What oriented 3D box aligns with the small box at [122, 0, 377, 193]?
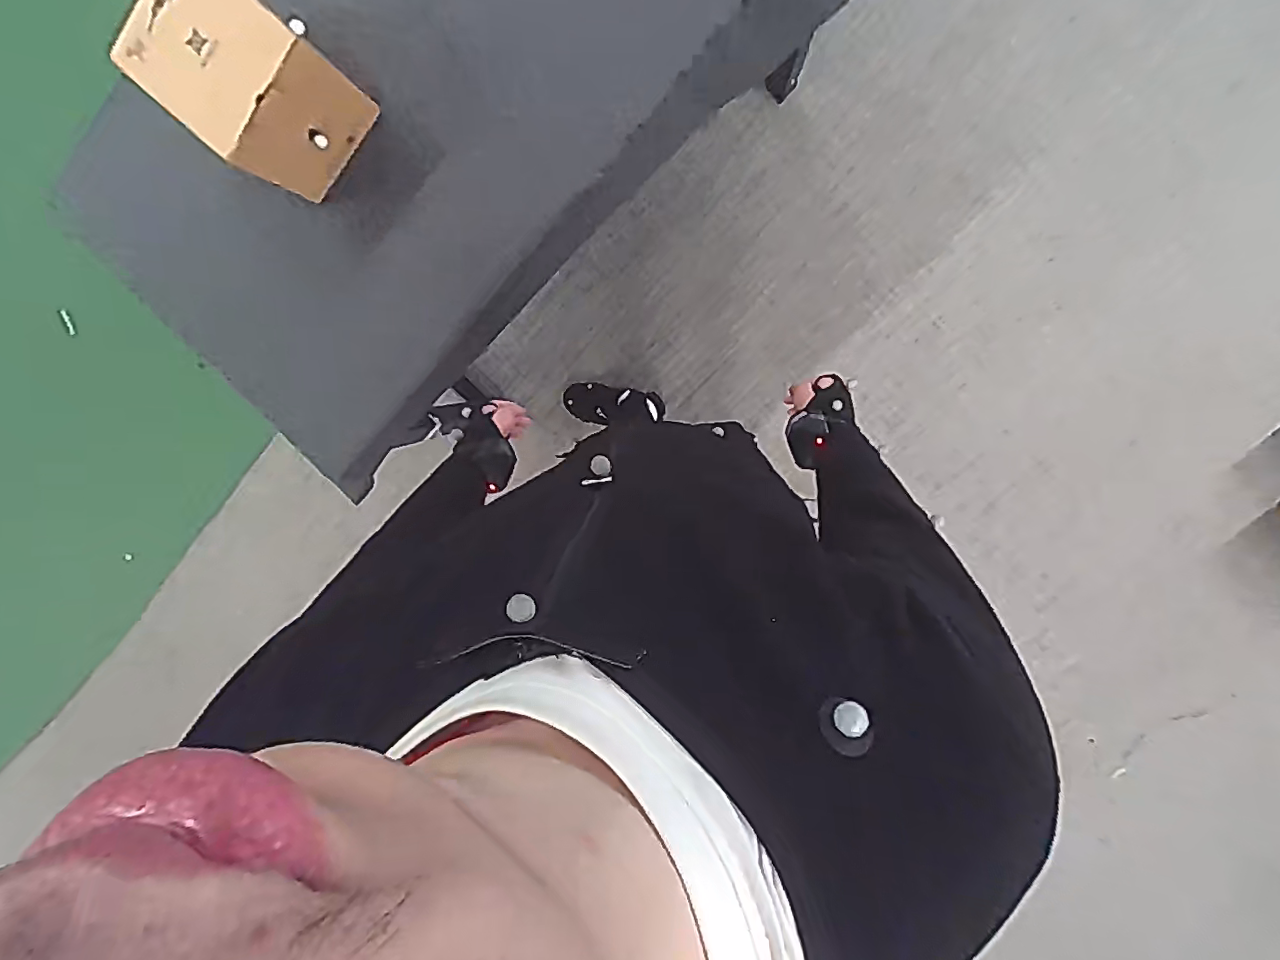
[{"bbox_3d":[-0.487,-0.506,0.702,0.179,0.176,0.168,39,103,-3],"label":"small box"}]
